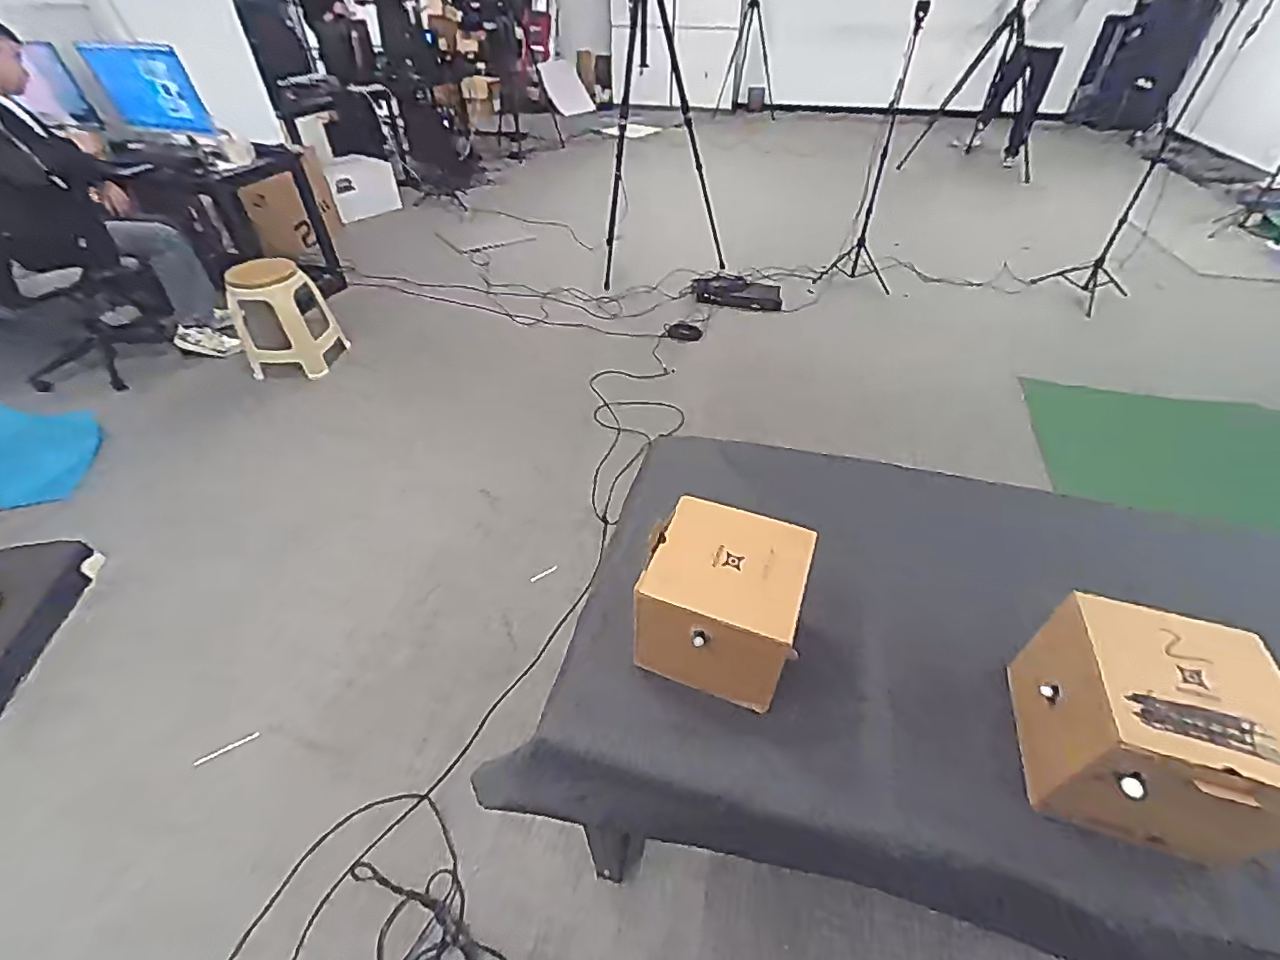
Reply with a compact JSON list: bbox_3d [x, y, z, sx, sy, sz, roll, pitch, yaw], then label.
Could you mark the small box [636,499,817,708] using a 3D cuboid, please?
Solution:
[{"bbox_3d":[0.104,0.155,0.677,0.179,0.176,0.168,16,45,16],"label":"small box"}]
